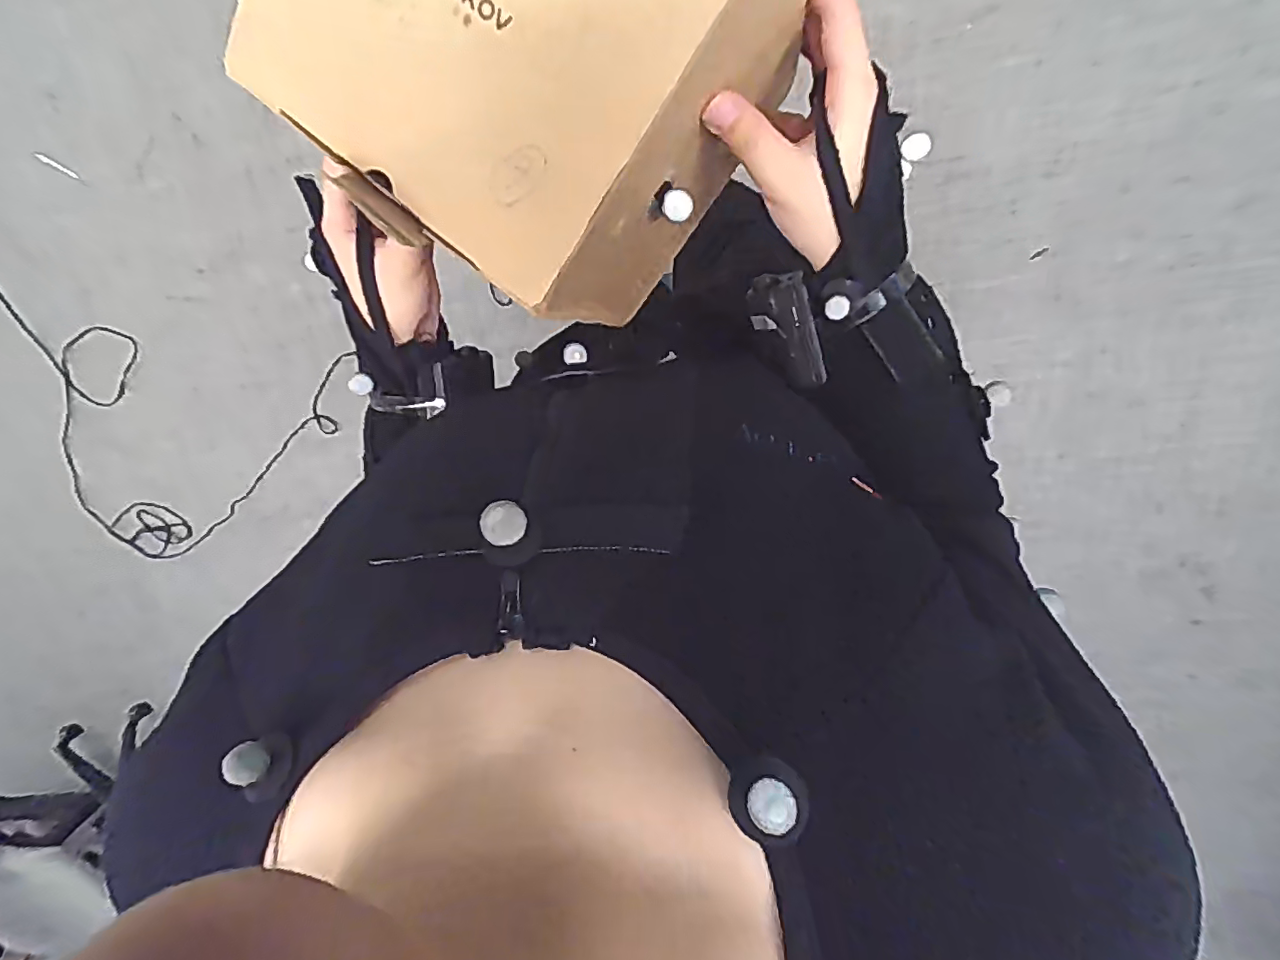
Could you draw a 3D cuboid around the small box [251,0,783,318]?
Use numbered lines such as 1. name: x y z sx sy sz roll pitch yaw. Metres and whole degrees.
1. small box: -0.039 -0.201 0.279 0.168 0.176 0.179 38 109 0
